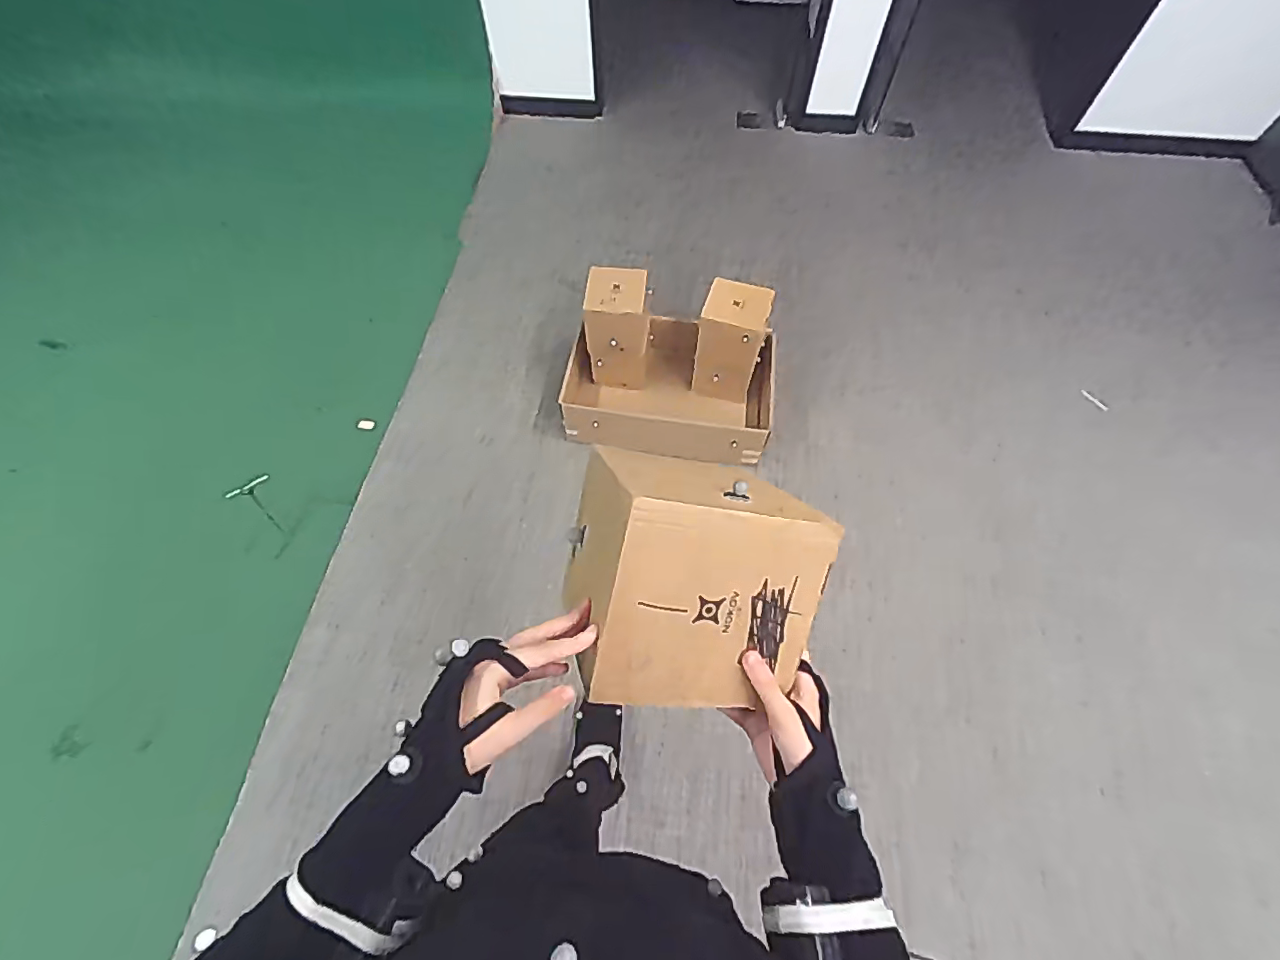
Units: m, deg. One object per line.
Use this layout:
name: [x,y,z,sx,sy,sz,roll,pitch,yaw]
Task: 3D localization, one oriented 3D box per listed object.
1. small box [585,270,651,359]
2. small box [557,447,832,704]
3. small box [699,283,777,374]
small box: [-0.059,-0.479,1.570,0.168,0.176,0.179,5,62,4]
small box: [0.032,0.076,0.488,0.179,0.176,0.168,10,102,-16]
small box: [0.274,-0.428,1.545,0.179,0.176,0.168,17,64,9]
